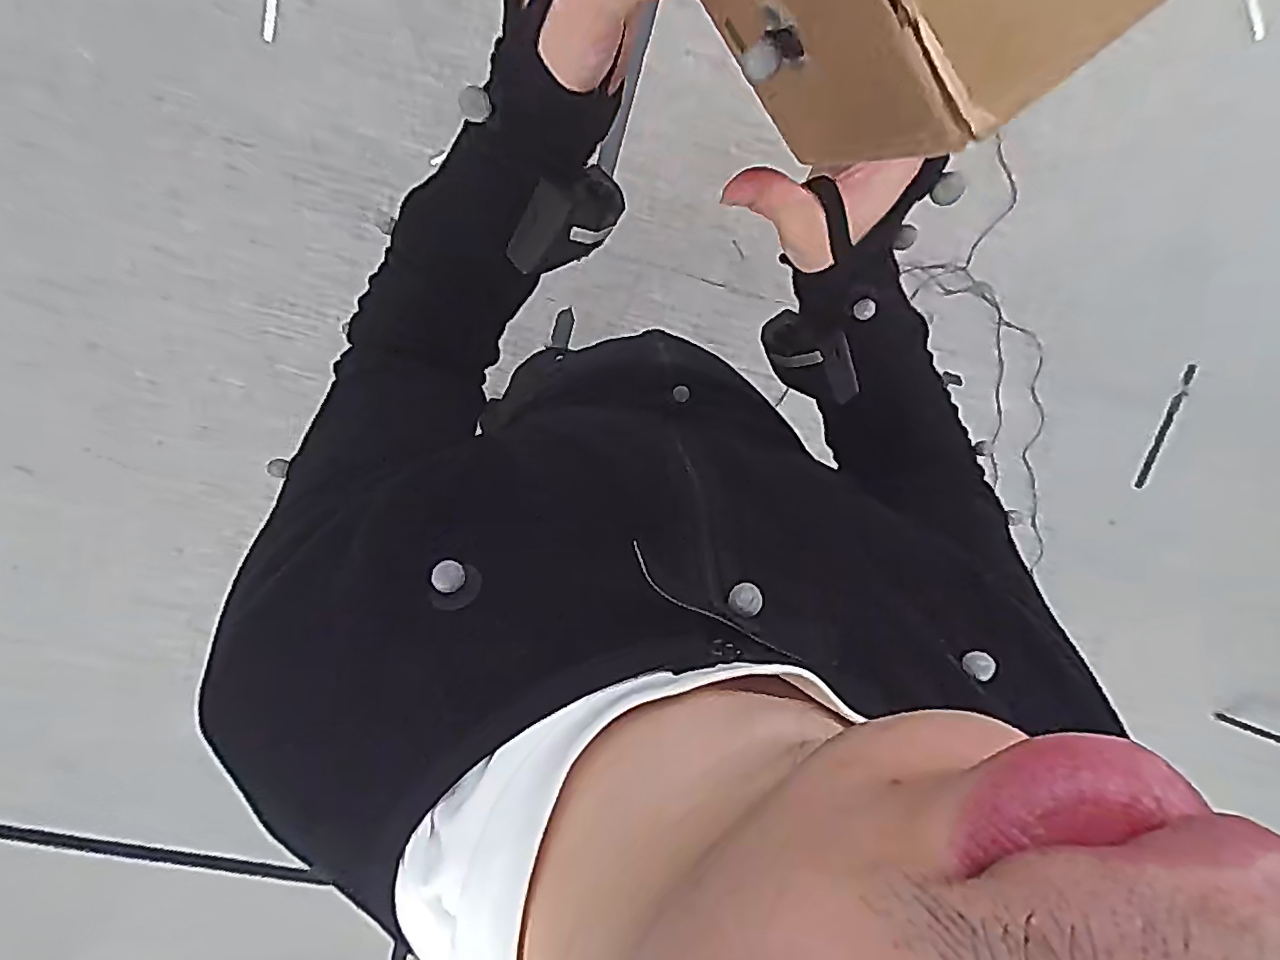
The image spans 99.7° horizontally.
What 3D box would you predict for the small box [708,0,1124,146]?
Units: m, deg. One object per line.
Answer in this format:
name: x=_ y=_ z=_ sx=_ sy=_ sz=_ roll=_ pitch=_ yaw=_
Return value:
small box: x=0.090 y=-0.223 z=0.149 sx=0.179 sy=0.176 sz=0.168 roll=-36 pitch=113 yaw=20
